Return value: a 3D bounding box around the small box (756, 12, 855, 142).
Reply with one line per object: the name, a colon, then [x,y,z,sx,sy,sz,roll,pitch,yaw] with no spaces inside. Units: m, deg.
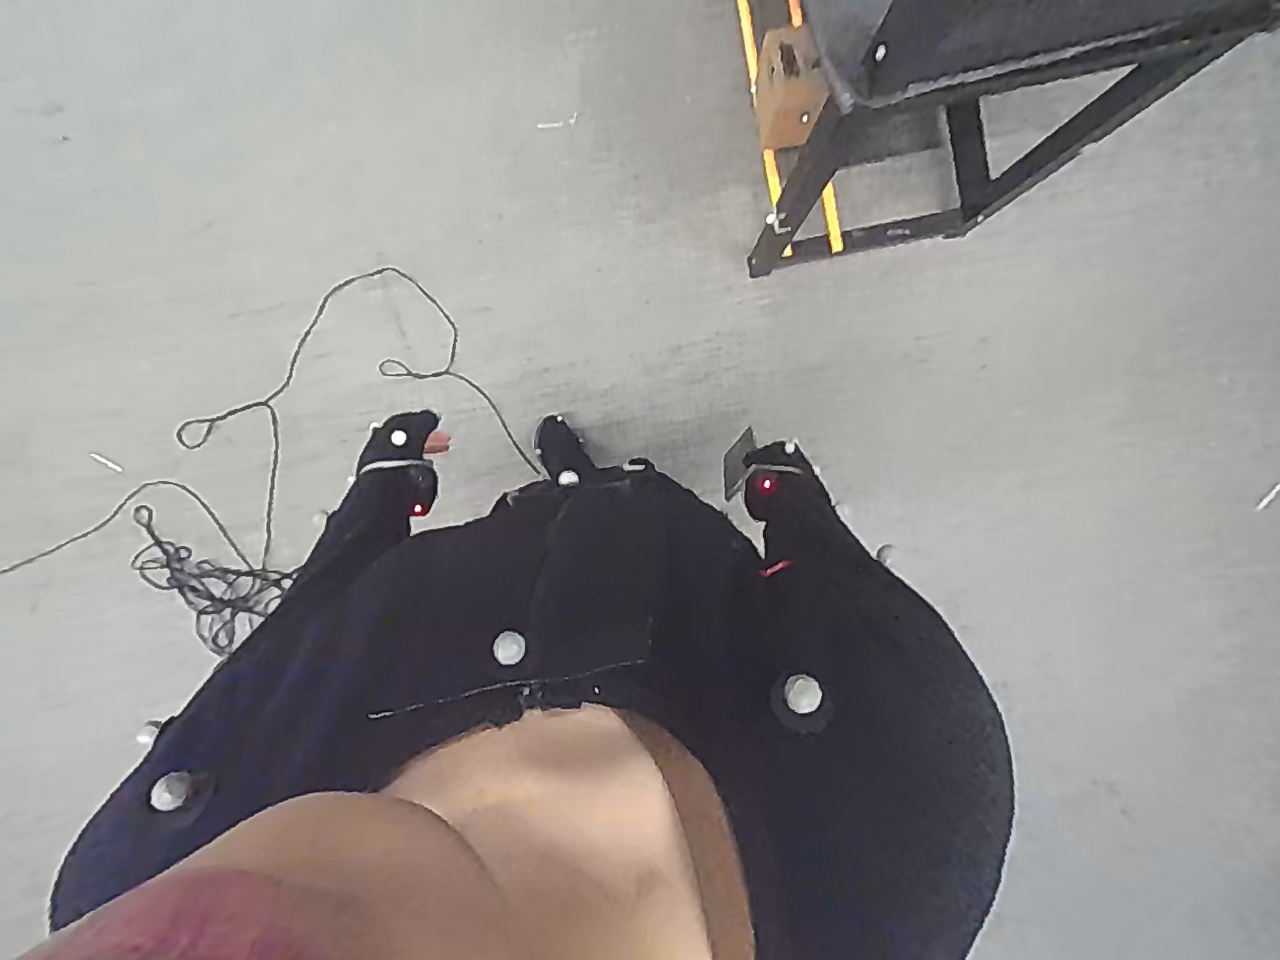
small box: [0.366,-0.903,1.229,0.179,0.176,0.168,-7,93,2]
